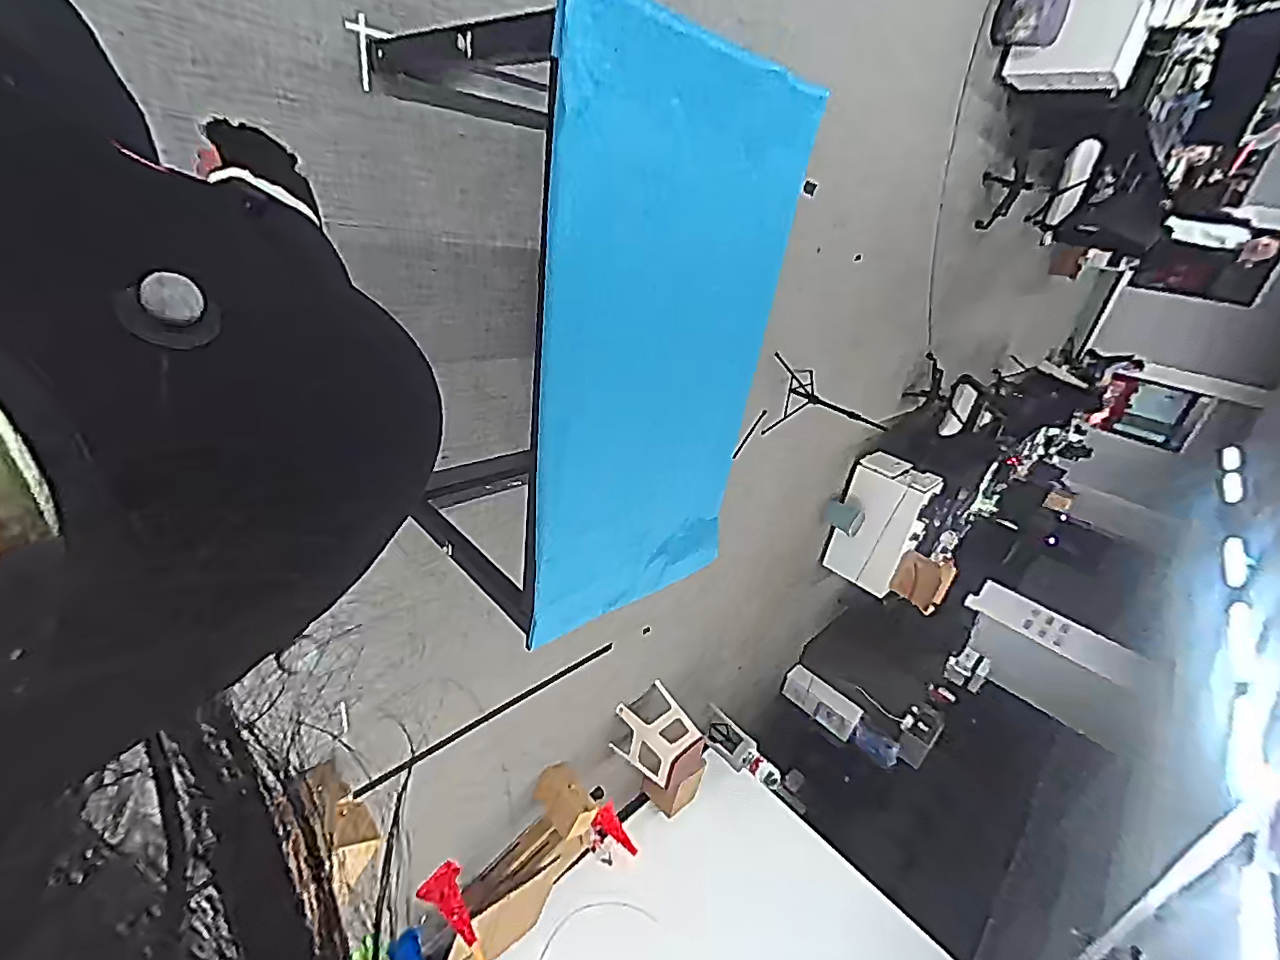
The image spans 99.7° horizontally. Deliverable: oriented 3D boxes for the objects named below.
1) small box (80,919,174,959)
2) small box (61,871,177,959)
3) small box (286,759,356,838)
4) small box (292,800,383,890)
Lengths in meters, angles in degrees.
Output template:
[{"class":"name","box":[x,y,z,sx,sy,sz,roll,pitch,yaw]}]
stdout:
[{"class":"small box","box":[-1.373,1.320,1.432,0.168,0.176,0.179,14,104,-51]},{"class":"small box","box":[-1.484,1.261,1.537,0.179,0.176,0.168,-43,139,-21]},{"class":"small box","box":[-1.108,1.120,1.878,0.179,0.176,0.168,-16,127,-44]},{"class":"small box","box":[-0.994,1.201,1.784,0.168,0.176,0.179,-57,145,-2]}]
